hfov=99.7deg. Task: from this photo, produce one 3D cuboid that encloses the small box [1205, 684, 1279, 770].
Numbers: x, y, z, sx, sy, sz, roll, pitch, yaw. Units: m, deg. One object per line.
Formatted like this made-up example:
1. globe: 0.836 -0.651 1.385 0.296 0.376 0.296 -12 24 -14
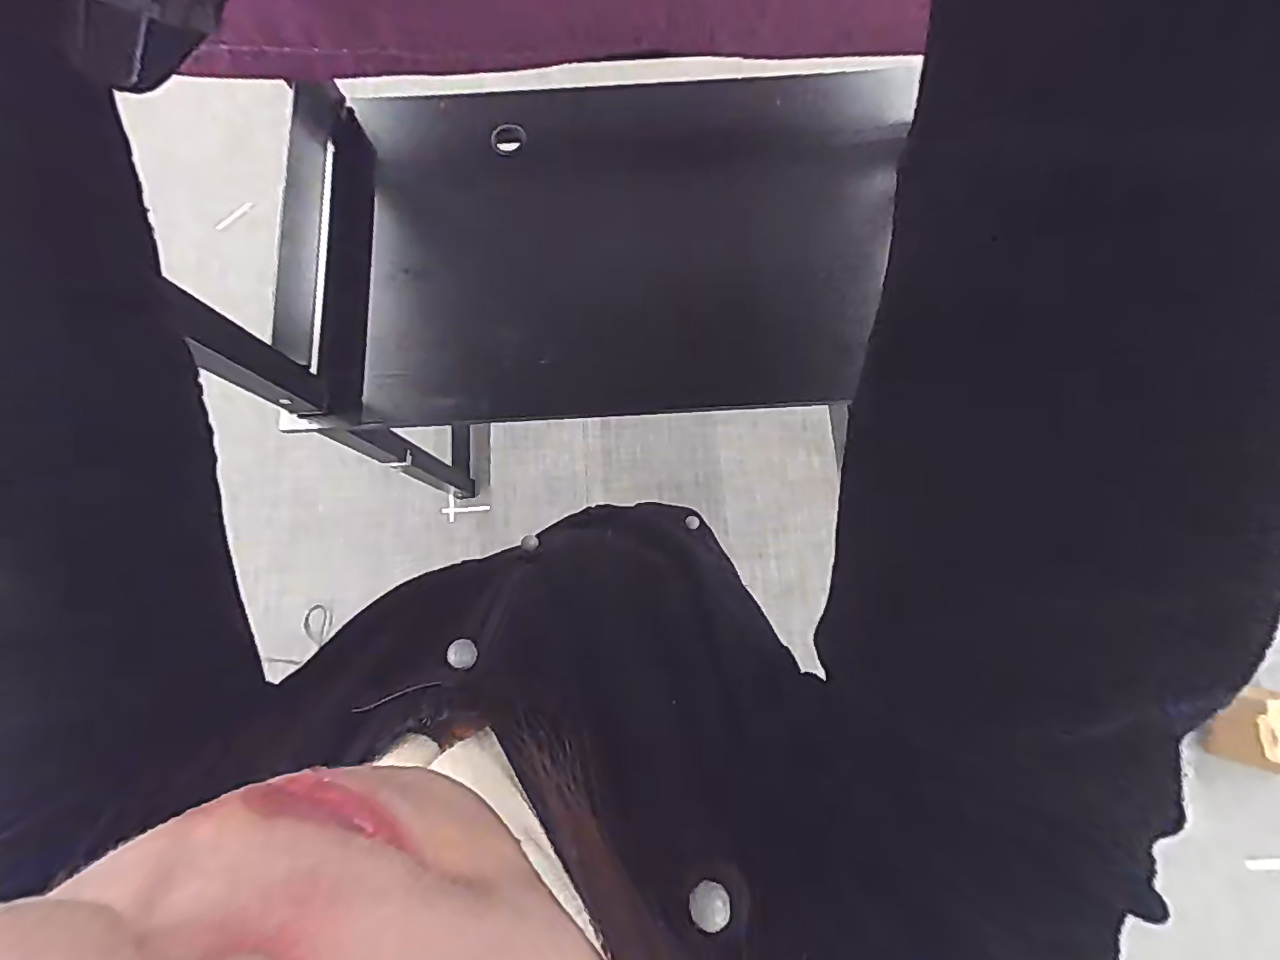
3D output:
1. small box: 1.528 0.593 1.300 0.179 0.176 0.168 -1 79 0
